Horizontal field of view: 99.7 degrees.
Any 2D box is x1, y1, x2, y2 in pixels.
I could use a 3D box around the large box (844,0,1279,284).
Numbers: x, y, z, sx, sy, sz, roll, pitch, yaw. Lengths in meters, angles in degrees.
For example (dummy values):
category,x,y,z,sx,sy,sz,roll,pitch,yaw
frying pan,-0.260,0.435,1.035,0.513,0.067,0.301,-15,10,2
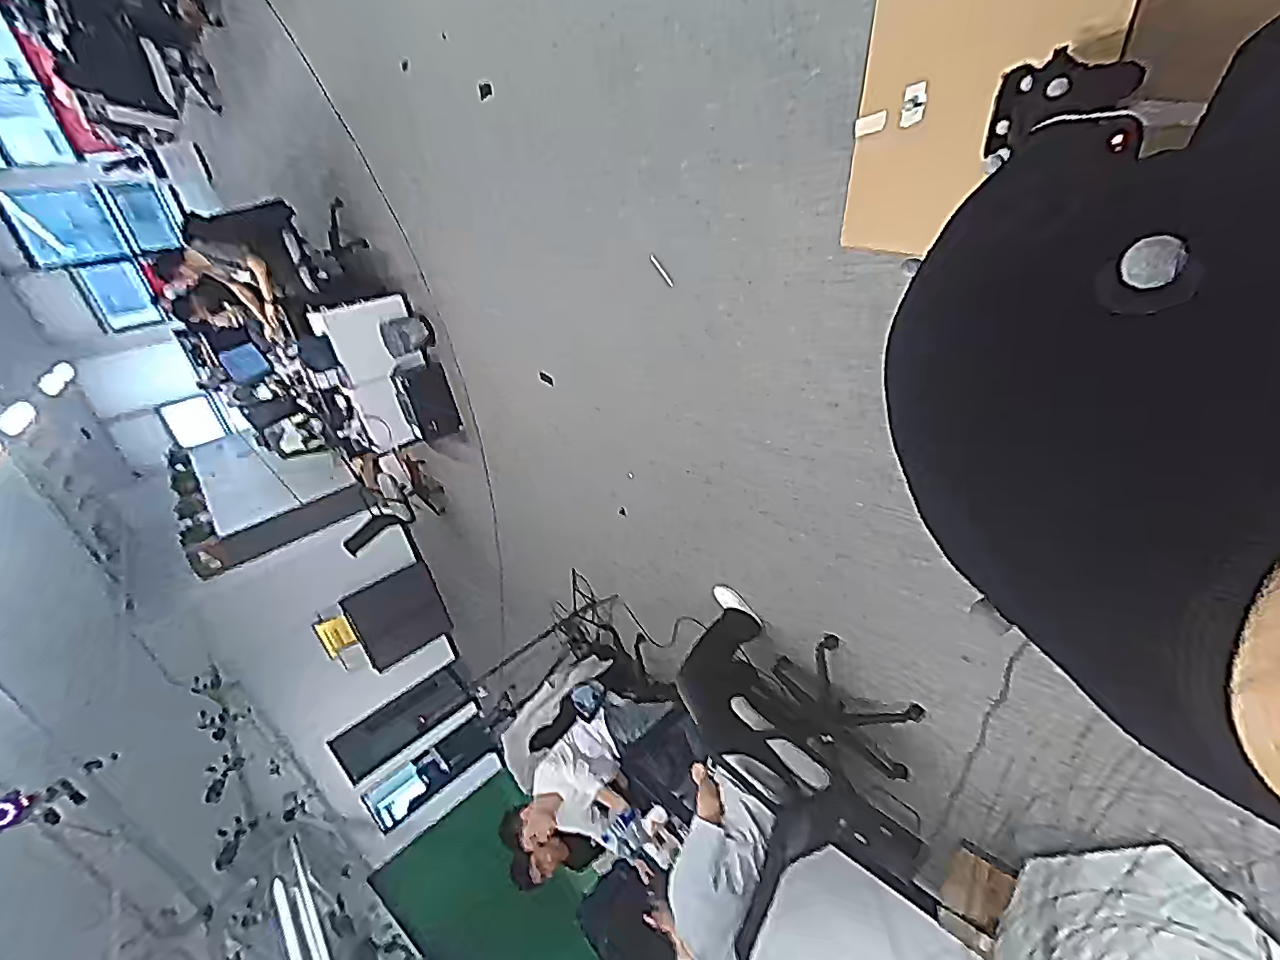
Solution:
category,x,y,z,sx,sy,sz,roll,pitch,yaw
large box,0.554,-0.478,0.751,0.320,0.408,0.320,42,141,49
